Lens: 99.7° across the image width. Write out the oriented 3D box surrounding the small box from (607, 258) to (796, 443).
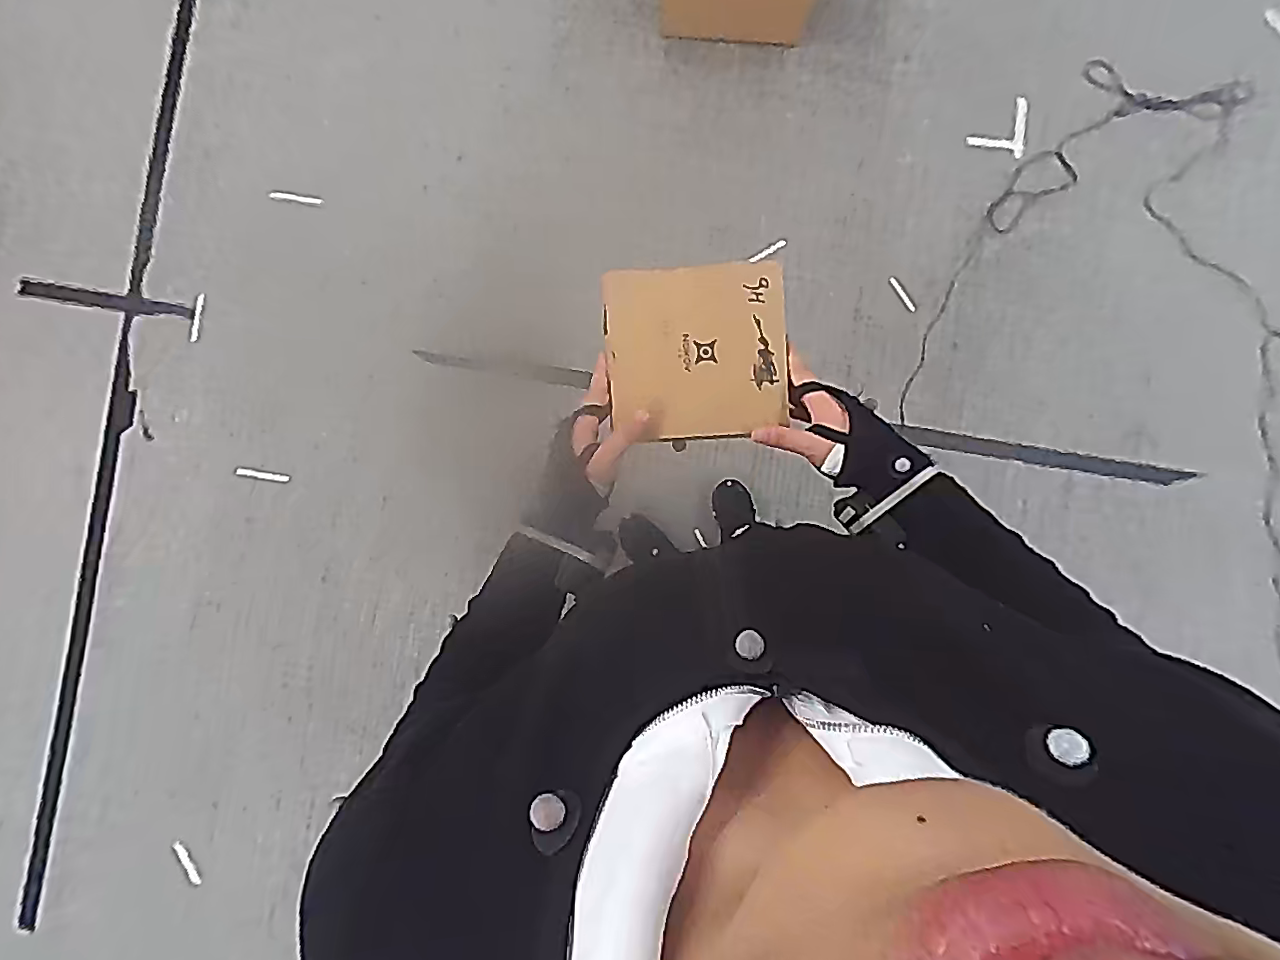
[{"bbox_3d":[0.060,-0.127,0.591,0.179,0.176,0.168,-3,93,0],"label":"small box"}]
